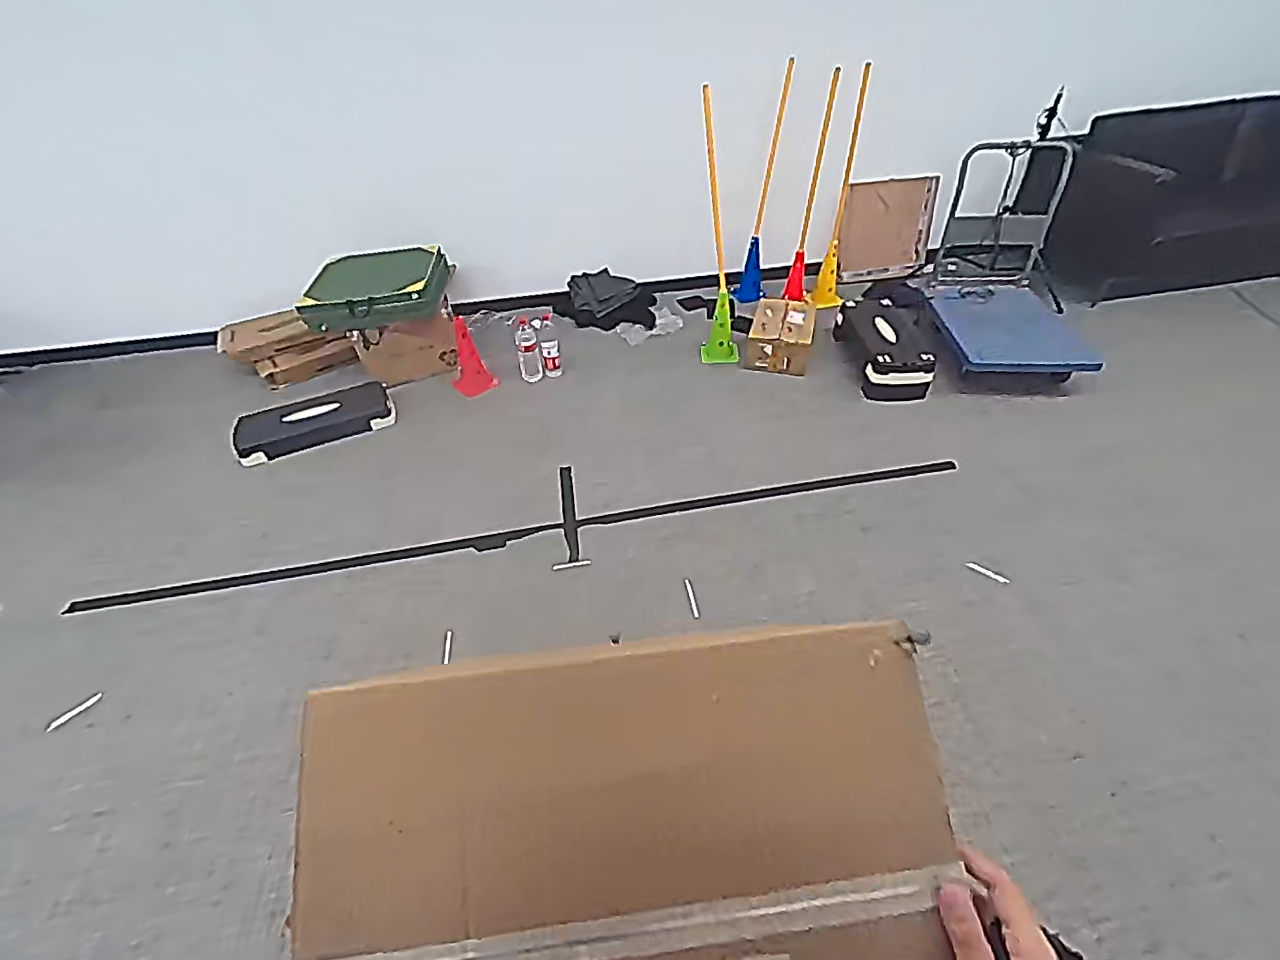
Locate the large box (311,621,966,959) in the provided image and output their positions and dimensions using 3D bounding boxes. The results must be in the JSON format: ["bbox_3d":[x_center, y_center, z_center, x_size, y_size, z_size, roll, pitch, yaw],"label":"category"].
[{"bbox_3d":[-0.008,0.312,0.478,0.408,0.320,0.320,-6,76,-5],"label":"large box"}]
